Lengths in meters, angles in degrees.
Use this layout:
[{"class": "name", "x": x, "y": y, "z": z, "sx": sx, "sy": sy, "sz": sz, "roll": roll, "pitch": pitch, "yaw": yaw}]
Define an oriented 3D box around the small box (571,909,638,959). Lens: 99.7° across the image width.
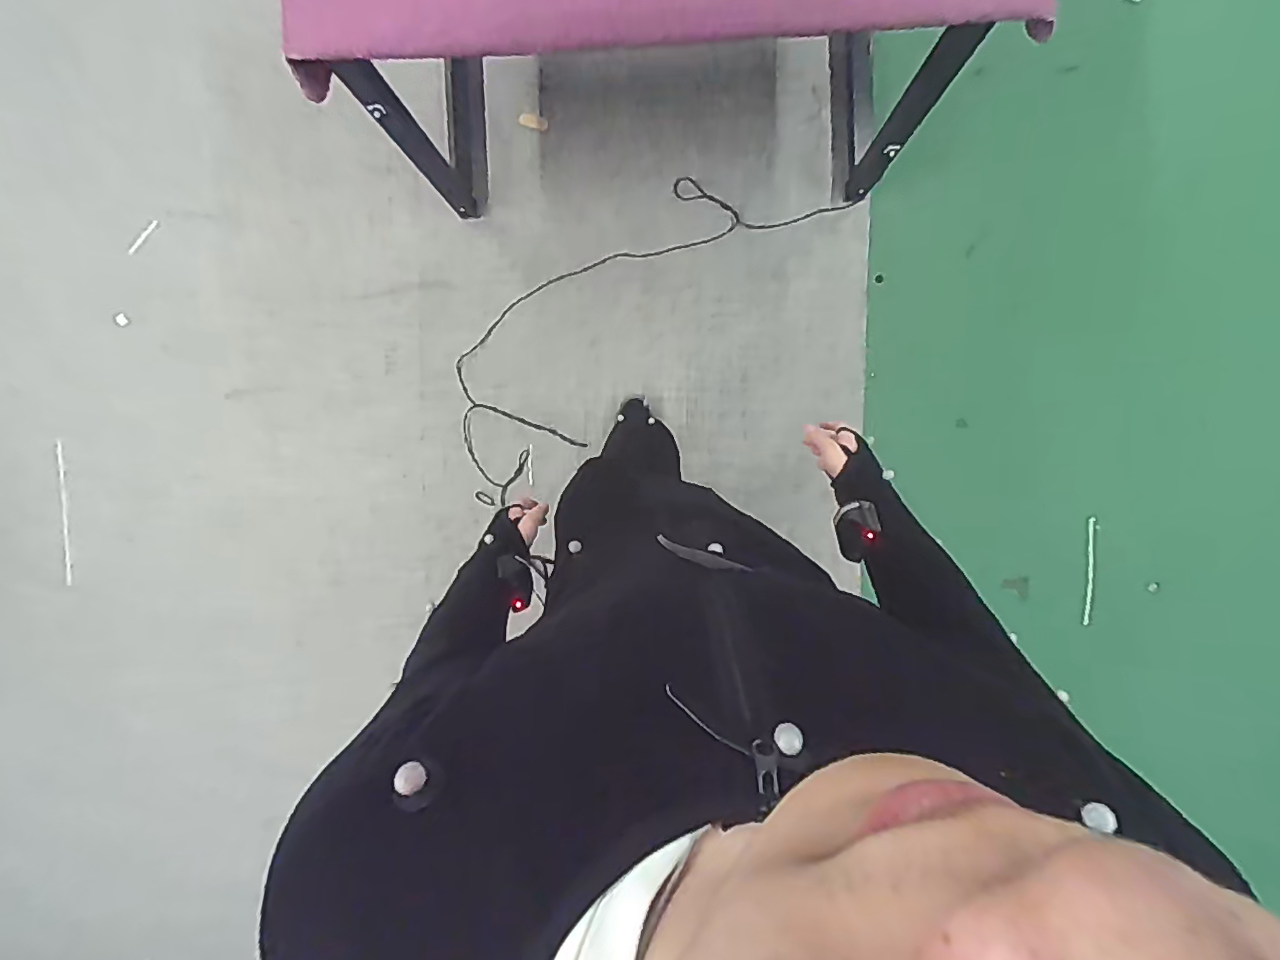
[{"class": "small box", "x": -0.101, "y": 1.423, "z": 1.599, "sx": 0.168, "sy": 0.176, "sz": 0.179, "roll": -7, "pitch": 93, "yaw": 4}]
